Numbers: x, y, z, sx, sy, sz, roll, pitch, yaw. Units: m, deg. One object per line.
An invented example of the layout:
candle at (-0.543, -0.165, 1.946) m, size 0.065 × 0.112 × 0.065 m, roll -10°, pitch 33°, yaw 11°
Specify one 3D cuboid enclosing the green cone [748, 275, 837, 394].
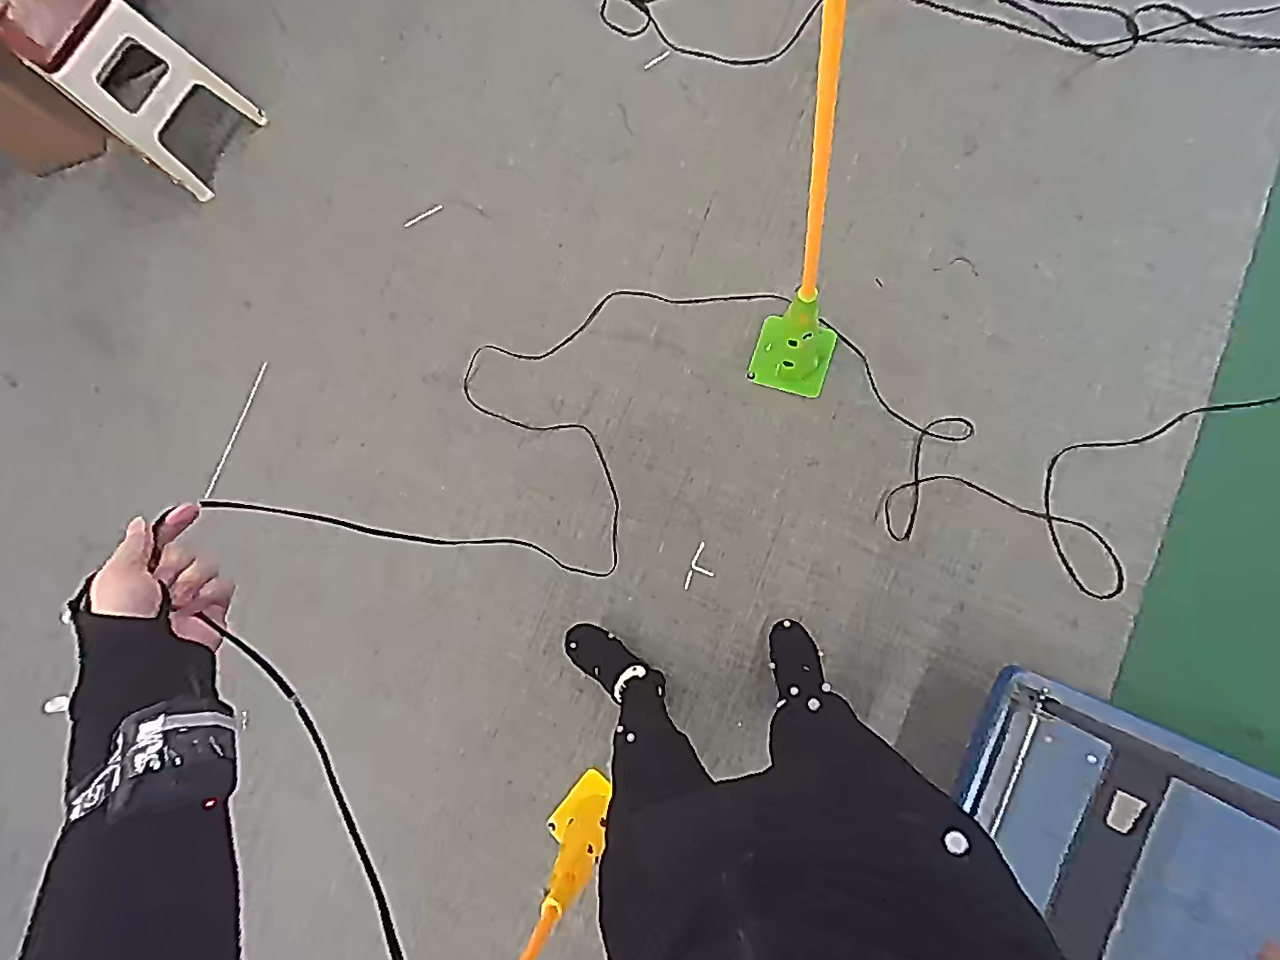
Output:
green cone at (0.383, -0.370, 1.289) m, size 0.200 × 0.368 × 0.202 m, roll 17°, pitch 83°, yaw 11°
